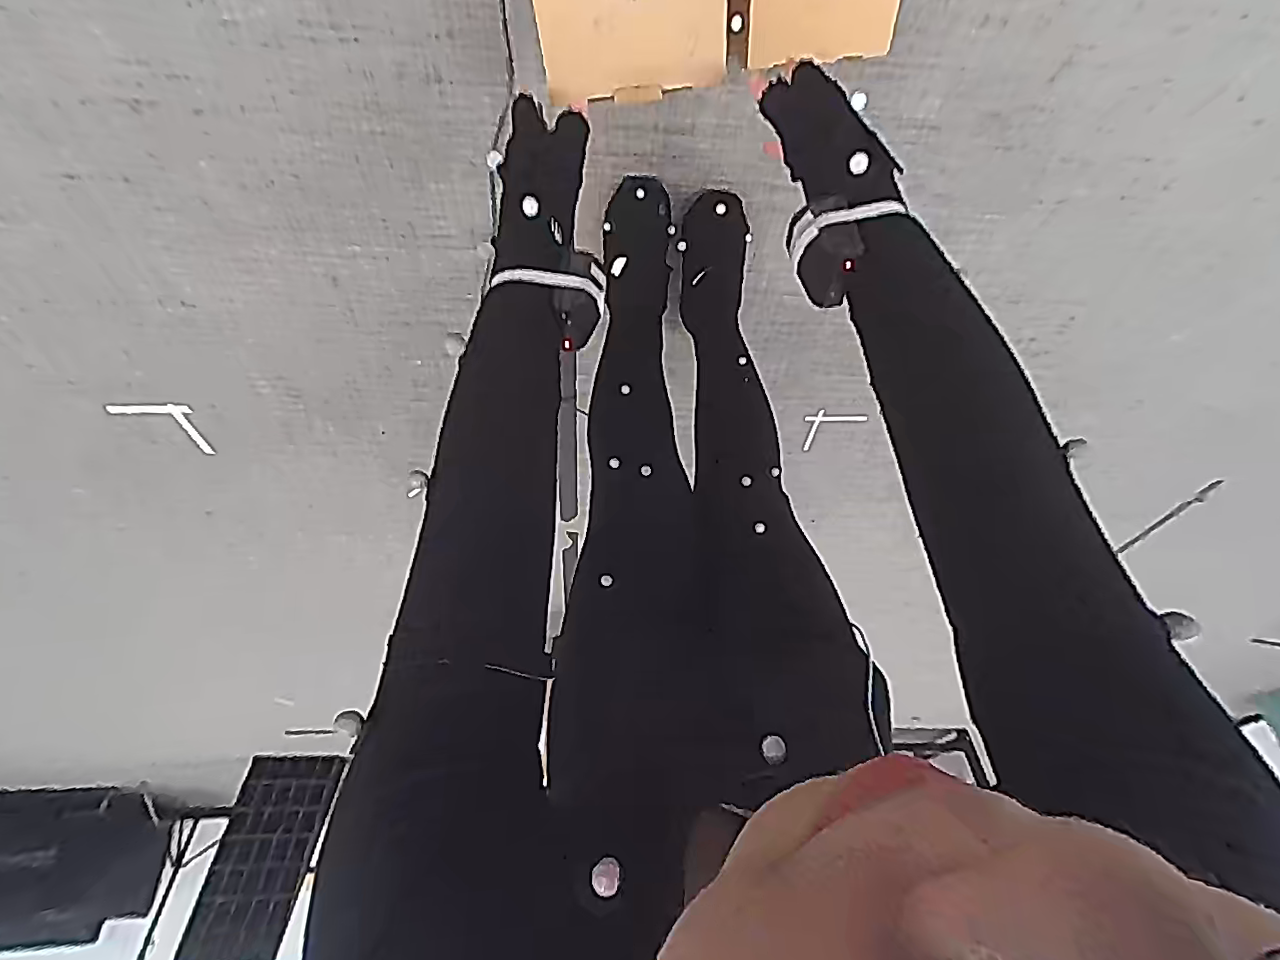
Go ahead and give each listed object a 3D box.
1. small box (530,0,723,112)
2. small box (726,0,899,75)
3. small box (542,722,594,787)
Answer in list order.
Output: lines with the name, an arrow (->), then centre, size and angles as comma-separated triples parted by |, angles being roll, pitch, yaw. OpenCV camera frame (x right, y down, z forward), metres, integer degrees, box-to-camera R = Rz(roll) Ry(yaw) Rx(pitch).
small box -> -0.015, -0.473, 0.495 | 0.168, 0.176, 0.179 | -6, 141, 2
small box -> 0.194, -0.596, 0.616 | 0.168, 0.176, 0.179 | -5, 140, 2
small box -> -0.248, 0.956, 1.879 | 0.168, 0.176, 0.179 | 2, 139, -6
